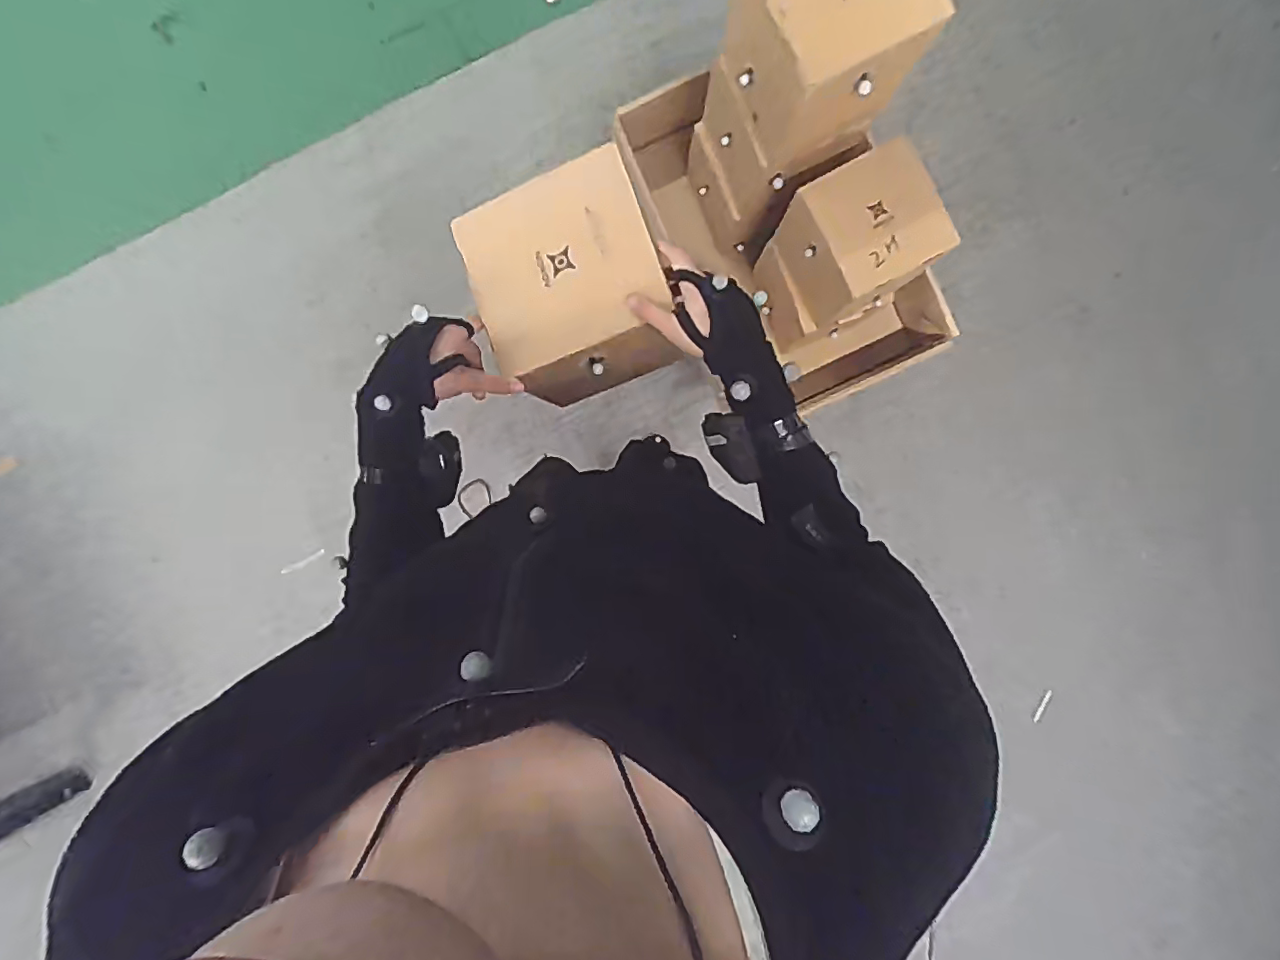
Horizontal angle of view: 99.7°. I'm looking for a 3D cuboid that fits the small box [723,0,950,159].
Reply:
[{"bbox_3d":[0.219,-0.537,0.652,0.179,0.176,0.168,-27,93,2],"label":"small box"}]
